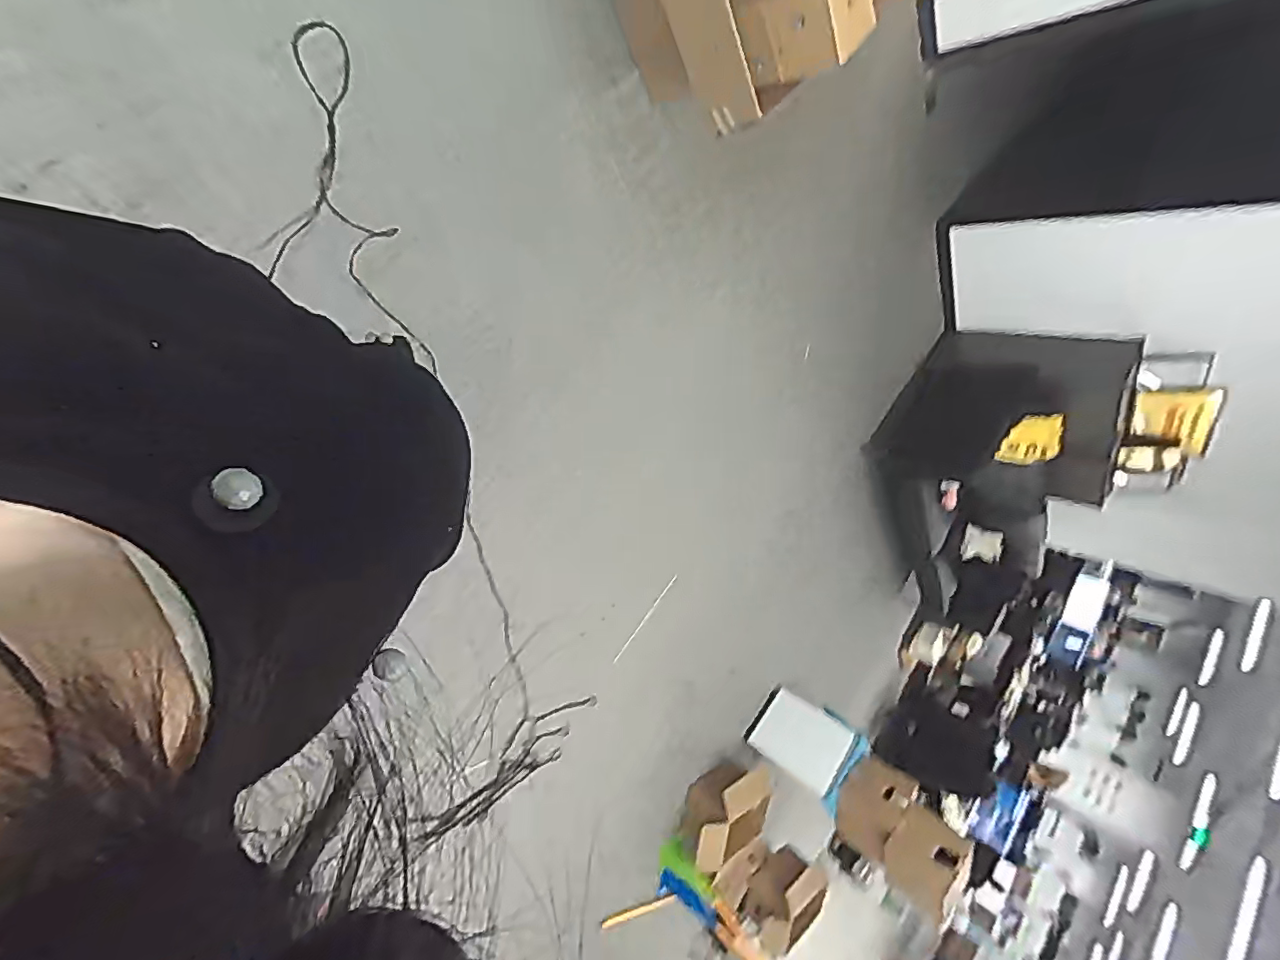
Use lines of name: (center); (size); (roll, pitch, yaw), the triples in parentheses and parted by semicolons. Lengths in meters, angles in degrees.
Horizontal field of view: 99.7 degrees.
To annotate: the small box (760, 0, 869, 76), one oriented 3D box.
small box: (0.397, -1.080, 1.249); (0.179, 0.176, 0.168); (-53, 134, -16)
